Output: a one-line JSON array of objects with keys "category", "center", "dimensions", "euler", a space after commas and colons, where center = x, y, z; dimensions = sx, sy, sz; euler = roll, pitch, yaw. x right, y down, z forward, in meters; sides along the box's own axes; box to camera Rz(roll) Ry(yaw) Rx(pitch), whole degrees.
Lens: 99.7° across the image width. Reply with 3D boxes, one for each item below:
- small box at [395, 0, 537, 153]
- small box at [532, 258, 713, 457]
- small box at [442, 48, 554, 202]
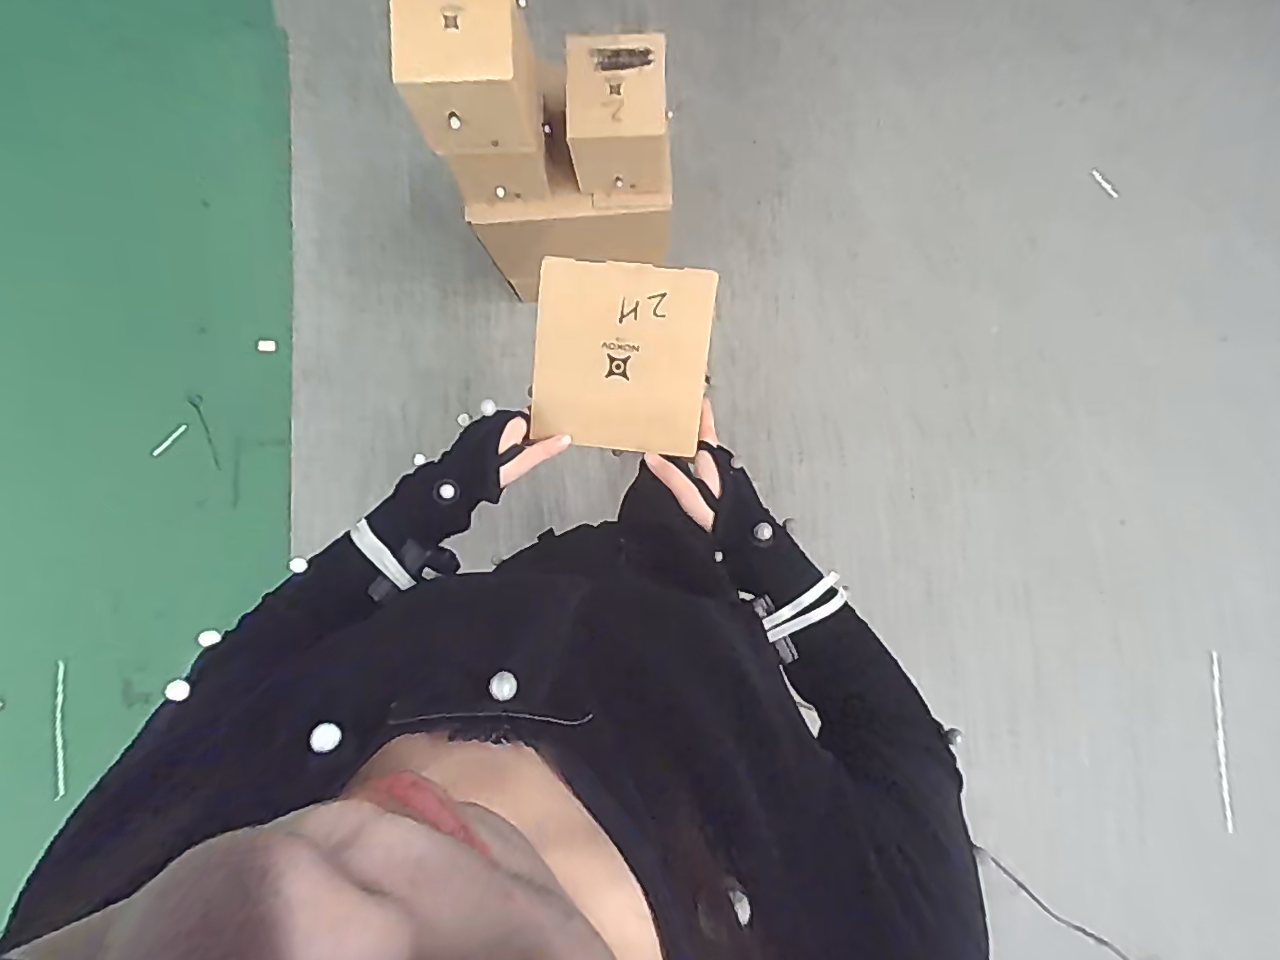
[{"category": "small box", "center": [-0.253, -0.626, 0.821], "dimensions": [0.168, 0.176, 0.179], "euler": [-2, 90, -1]}, {"category": "small box", "center": [-0.012, -0.130, 0.604], "dimensions": [0.168, 0.176, 0.179], "euler": [7, 99, 5]}, {"category": "small box", "center": [-0.252, -0.637, 0.984], "dimensions": [0.168, 0.176, 0.179], "euler": [-1, 91, -1]}]
